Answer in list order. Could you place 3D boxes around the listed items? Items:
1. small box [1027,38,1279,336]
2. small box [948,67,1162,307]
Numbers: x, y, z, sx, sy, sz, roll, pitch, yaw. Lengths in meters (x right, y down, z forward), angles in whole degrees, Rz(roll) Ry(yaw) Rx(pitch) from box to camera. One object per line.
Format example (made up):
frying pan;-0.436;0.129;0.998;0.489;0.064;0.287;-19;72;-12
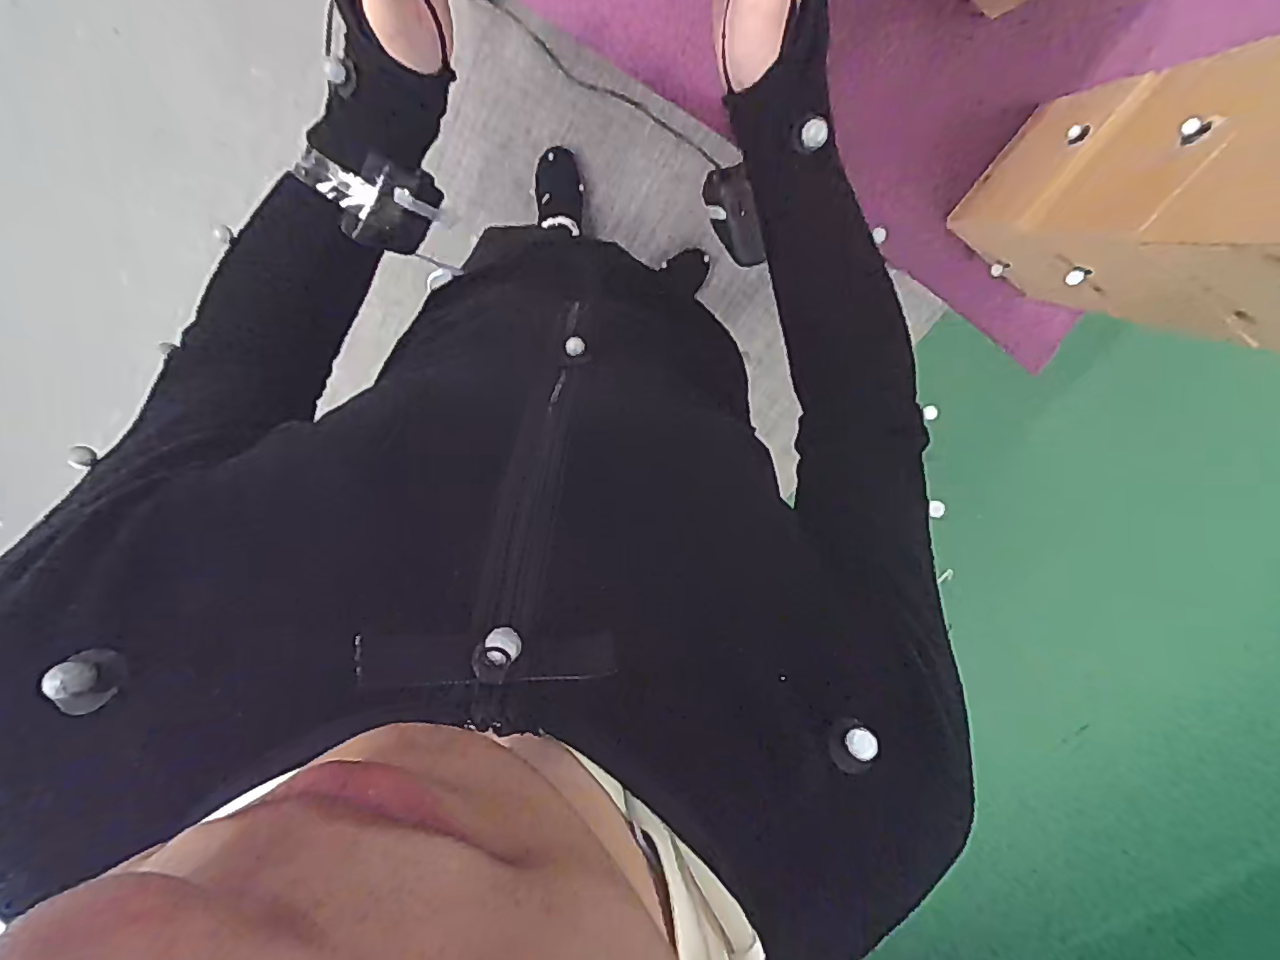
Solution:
small box;0.522;-0.267;0.500;0.168;0.176;0.179;32;114;-13
small box;0.522;-0.339;0.646;0.179;0.176;0.168;31;113;-14
